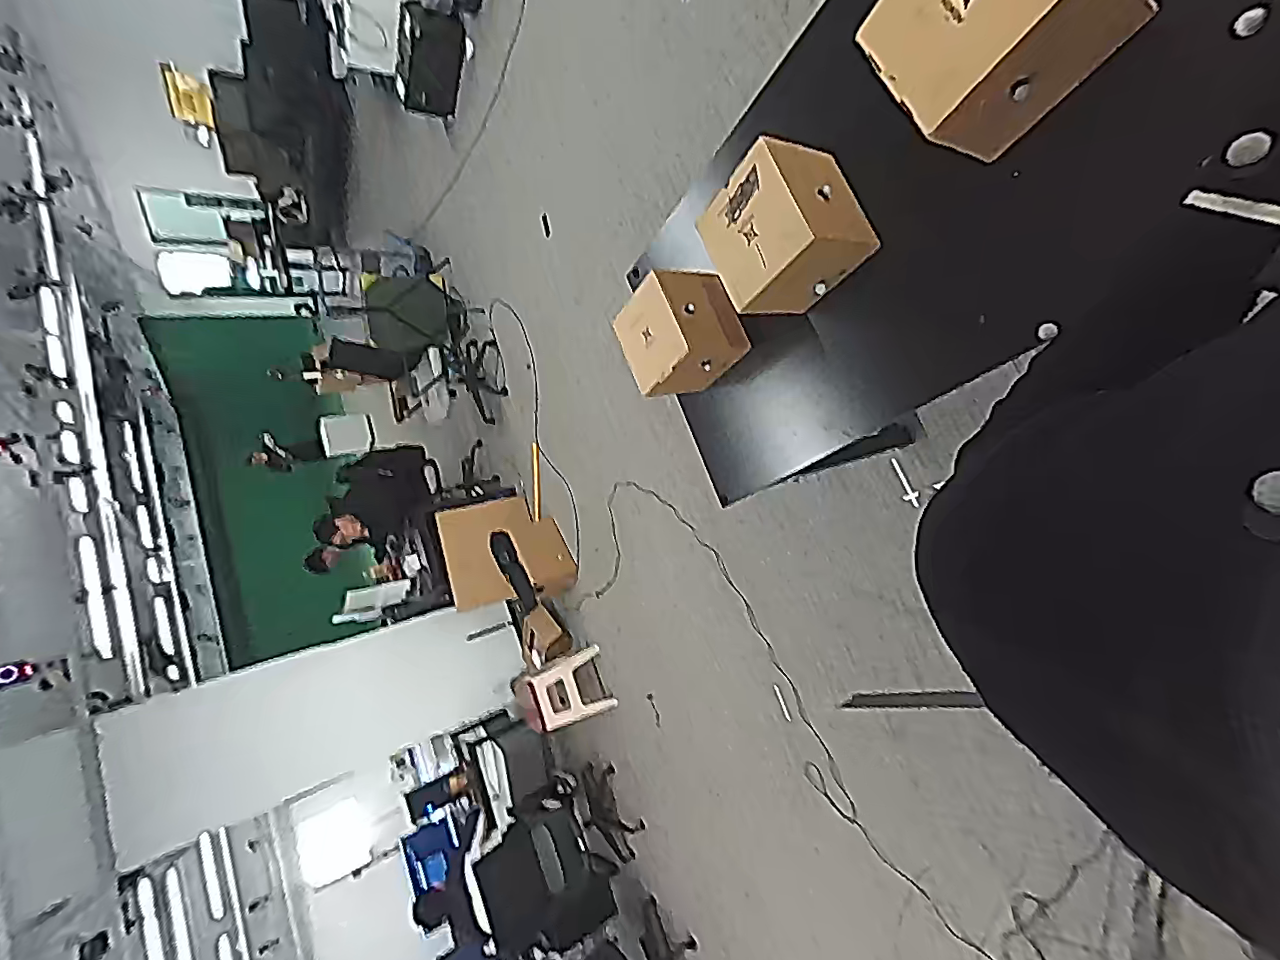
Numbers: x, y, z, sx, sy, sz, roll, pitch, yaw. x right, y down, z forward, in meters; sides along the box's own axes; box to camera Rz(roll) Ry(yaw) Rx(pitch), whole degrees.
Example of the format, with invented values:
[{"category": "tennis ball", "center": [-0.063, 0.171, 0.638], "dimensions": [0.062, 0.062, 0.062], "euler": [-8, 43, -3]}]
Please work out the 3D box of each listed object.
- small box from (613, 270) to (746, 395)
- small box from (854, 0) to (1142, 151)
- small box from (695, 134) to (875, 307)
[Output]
[{"category": "small box", "center": [0.079, -0.290, 1.067], "dimensions": [0.168, 0.176, 0.179], "euler": [-38, 69, 51]}, {"category": "small box", "center": [0.380, -0.494, 0.584], "dimensions": [0.179, 0.176, 0.168], "euler": [-43, 66, 52]}, {"category": "small box", "center": [0.222, -0.385, 0.837], "dimensions": [0.168, 0.176, 0.179], "euler": [-38, 71, 52]}]
